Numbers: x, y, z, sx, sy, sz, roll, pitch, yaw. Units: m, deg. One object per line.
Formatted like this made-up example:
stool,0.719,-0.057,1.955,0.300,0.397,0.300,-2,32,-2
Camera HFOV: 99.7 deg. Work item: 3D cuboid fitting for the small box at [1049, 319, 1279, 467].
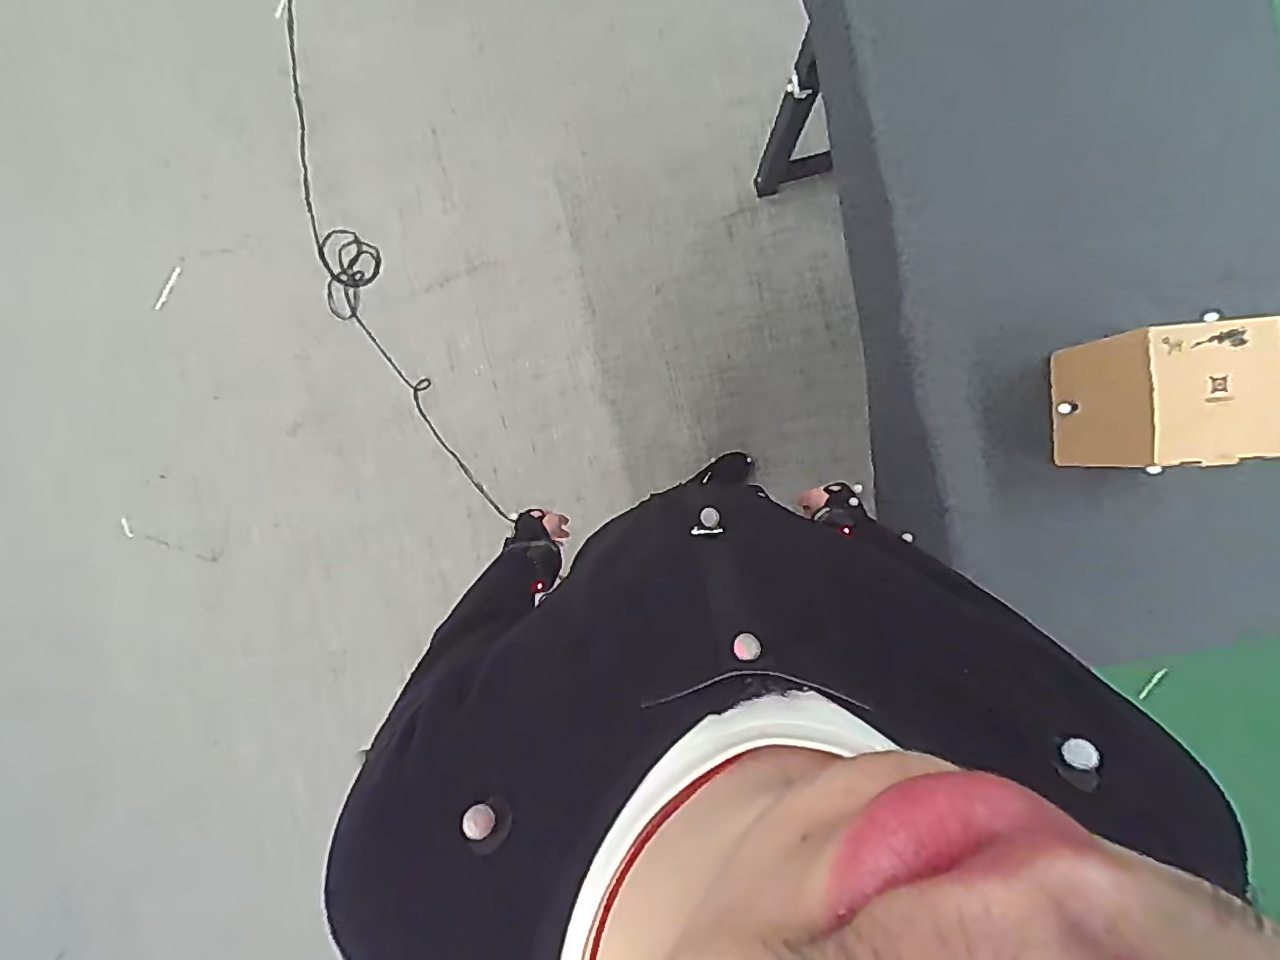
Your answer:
small box,0.710,-0.113,0.752,0.168,0.176,0.179,-4,93,2
